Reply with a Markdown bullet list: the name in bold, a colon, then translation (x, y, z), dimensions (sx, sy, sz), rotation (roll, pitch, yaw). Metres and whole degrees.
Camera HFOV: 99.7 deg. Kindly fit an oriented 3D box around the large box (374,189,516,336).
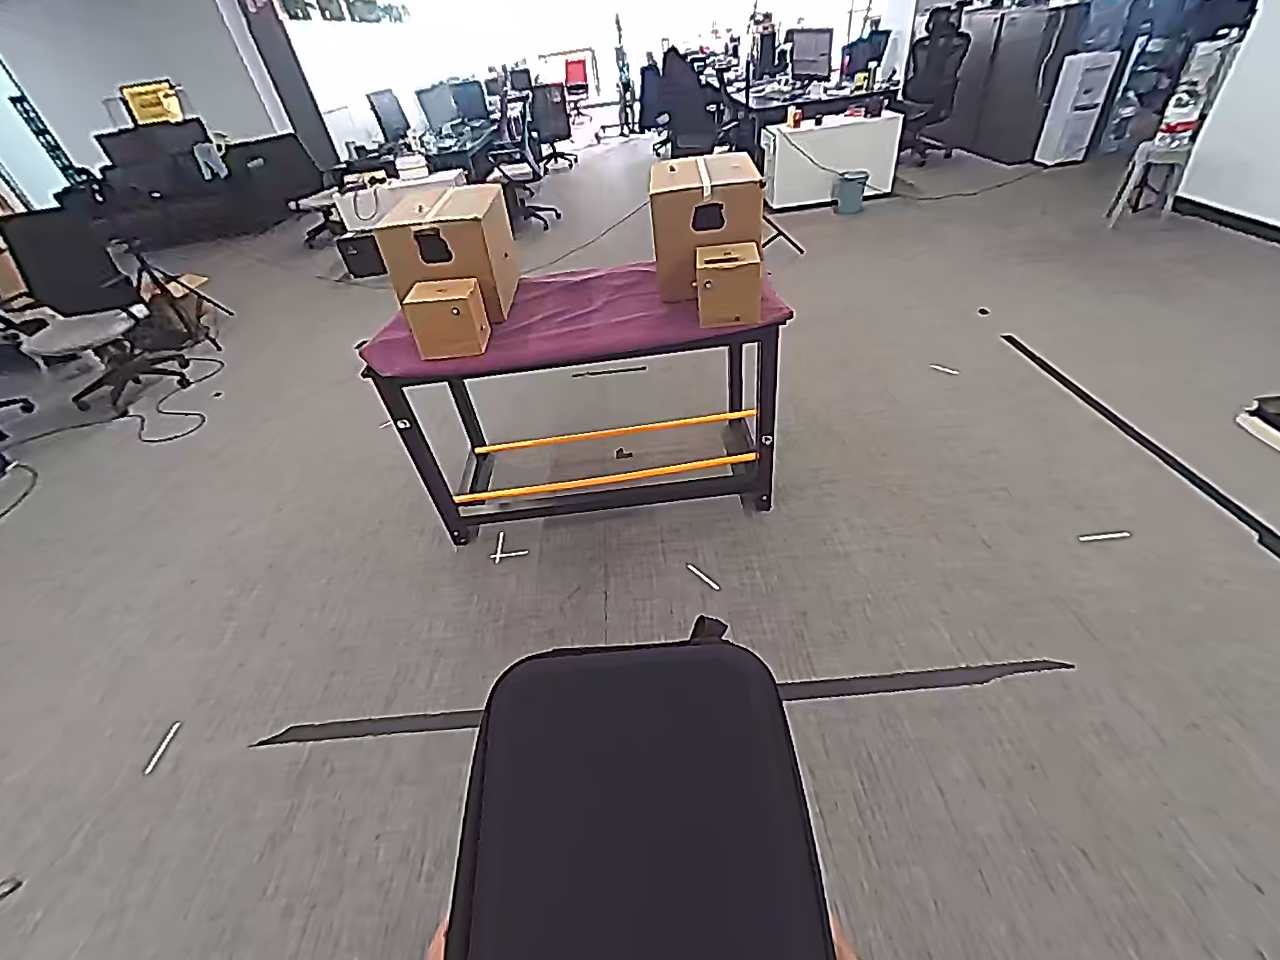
- **large box**: translation (-0.602, -0.714, 1.760), dimensions (0.320, 0.320, 0.408), rotation (-6, 42, 1)
